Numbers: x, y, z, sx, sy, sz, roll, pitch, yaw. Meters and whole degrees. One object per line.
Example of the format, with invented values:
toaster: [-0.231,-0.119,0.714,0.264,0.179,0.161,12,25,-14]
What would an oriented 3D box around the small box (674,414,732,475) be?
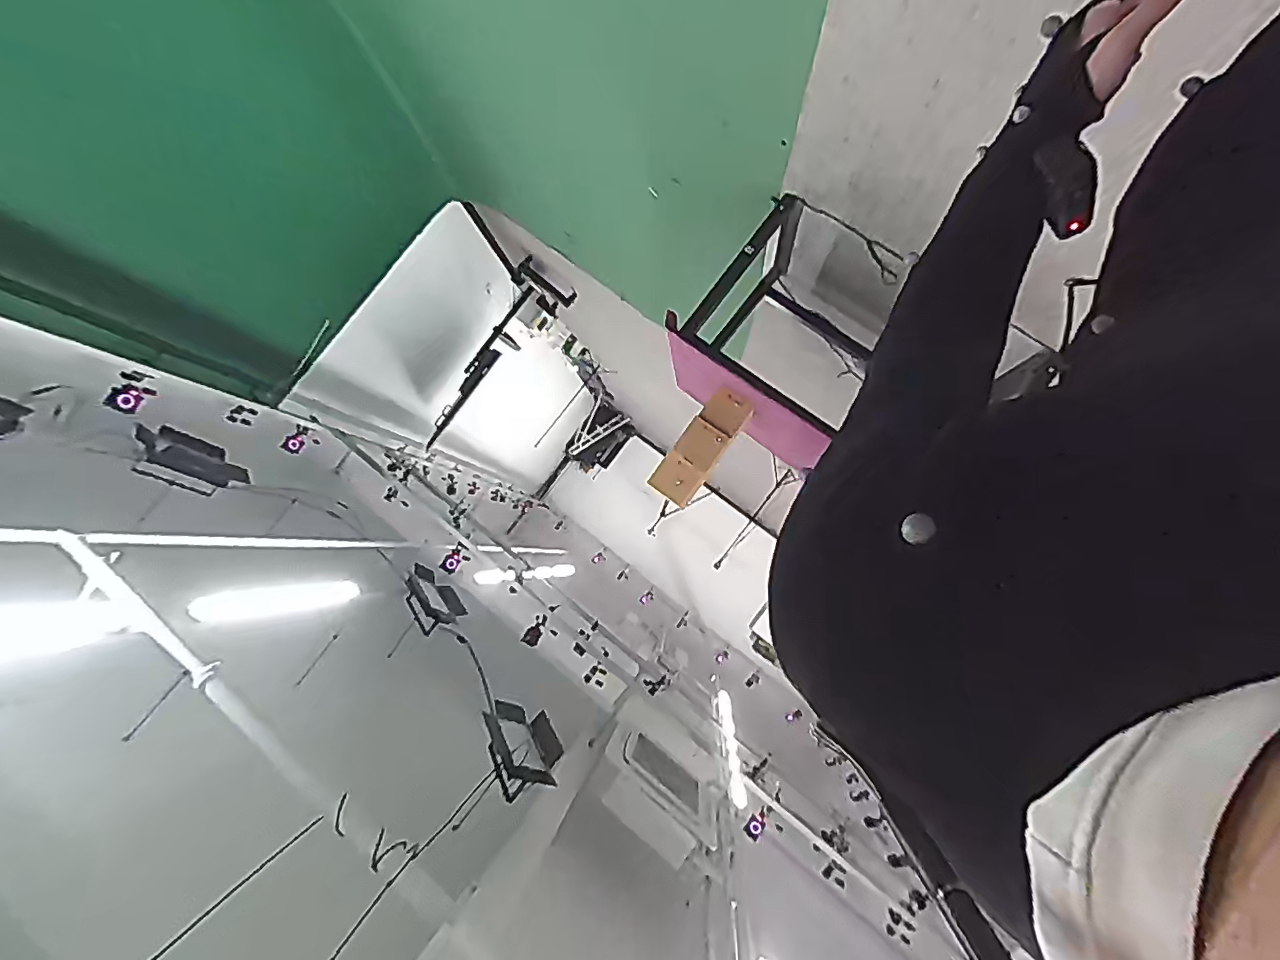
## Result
small box: [0.257,-0.144,2.174,0.168,0.176,0.179,36,180,10]

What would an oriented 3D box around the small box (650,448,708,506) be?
small box: [0.160,-0.013,2.181,0.168,0.176,0.179,36,179,12]

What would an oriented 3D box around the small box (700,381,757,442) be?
small box: [0.357,-0.273,2.199,0.168,0.176,0.179,36,178,8]
